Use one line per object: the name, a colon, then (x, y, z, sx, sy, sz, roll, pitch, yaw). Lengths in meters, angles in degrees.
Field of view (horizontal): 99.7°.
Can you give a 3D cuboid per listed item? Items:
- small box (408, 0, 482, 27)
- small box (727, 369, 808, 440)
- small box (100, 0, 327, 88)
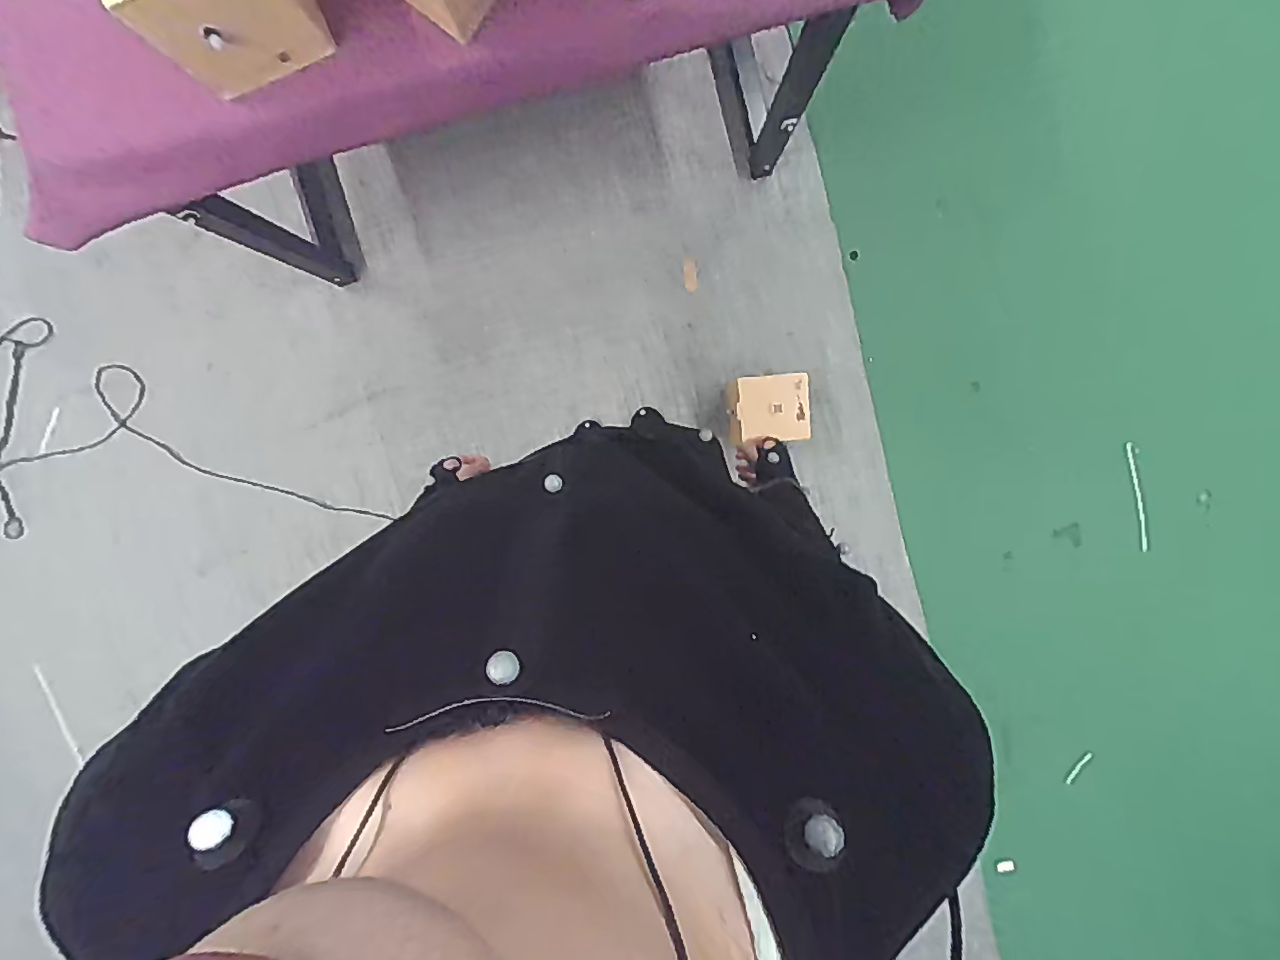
small box: (-0.252, -0.675, 0.611, 0.179, 0.176, 0.168, 36, 95, -3)
small box: (0.324, -0.194, 1.404, 0.179, 0.176, 0.168, -5, 97, 1)
small box: (-0.505, -0.599, 0.621, 0.168, 0.176, 0.179, -22, 95, 2)
